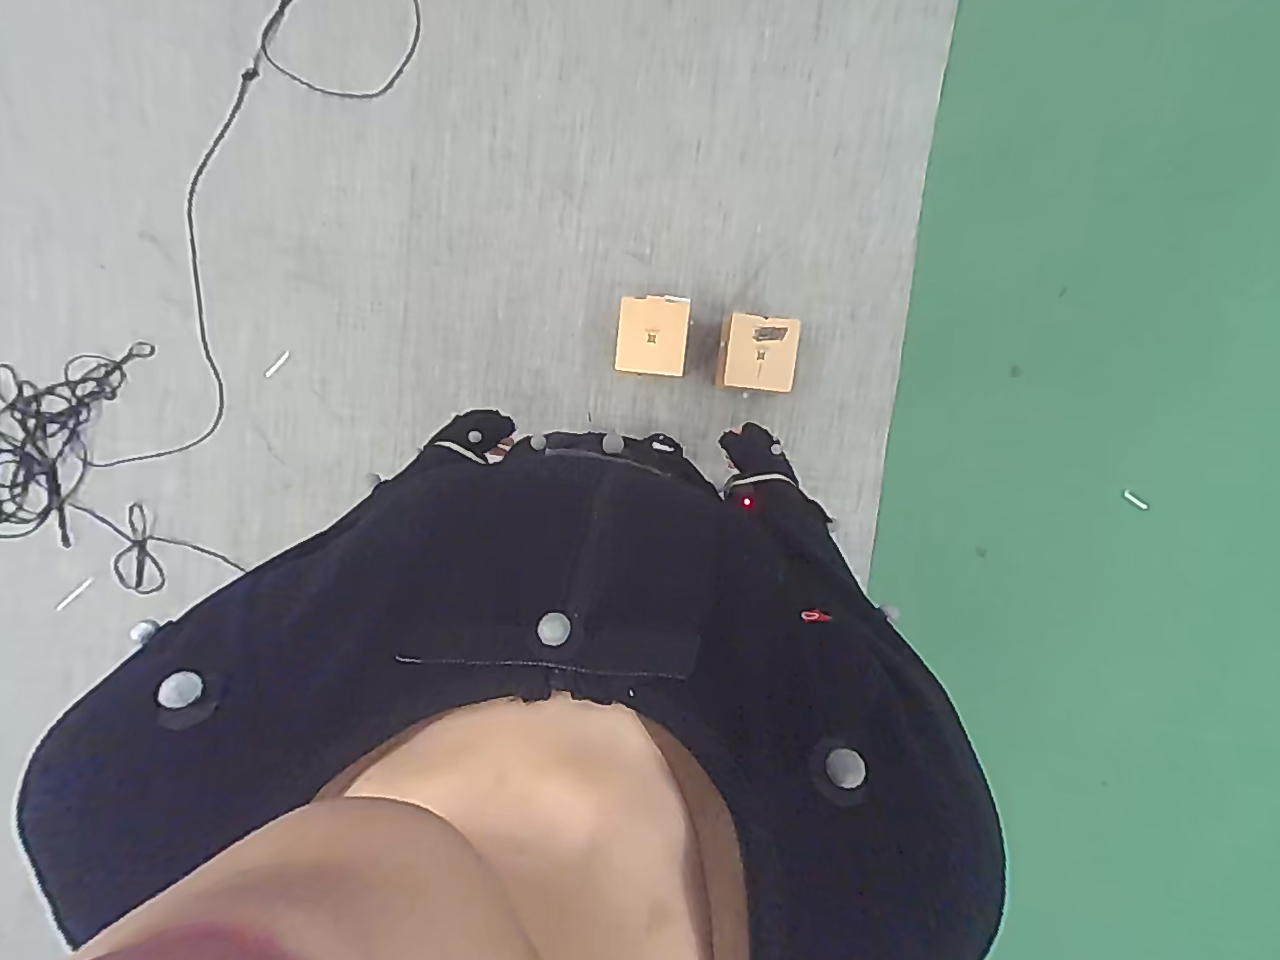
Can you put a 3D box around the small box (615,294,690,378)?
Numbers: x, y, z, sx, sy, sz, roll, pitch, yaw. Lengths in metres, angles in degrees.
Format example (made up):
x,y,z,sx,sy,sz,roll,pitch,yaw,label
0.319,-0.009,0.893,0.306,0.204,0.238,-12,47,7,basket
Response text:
x,y,z,sx,sy,sz,roll,pitch,yaw,label
0.031,-0.354,1.361,0.168,0.176,0.179,5,95,-1,small box

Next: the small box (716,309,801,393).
x,y,z,sx,sy,sz,roll,pitch,yaw,label
0.291,-0.319,1.363,0.168,0.176,0.179,6,97,-1,small box
